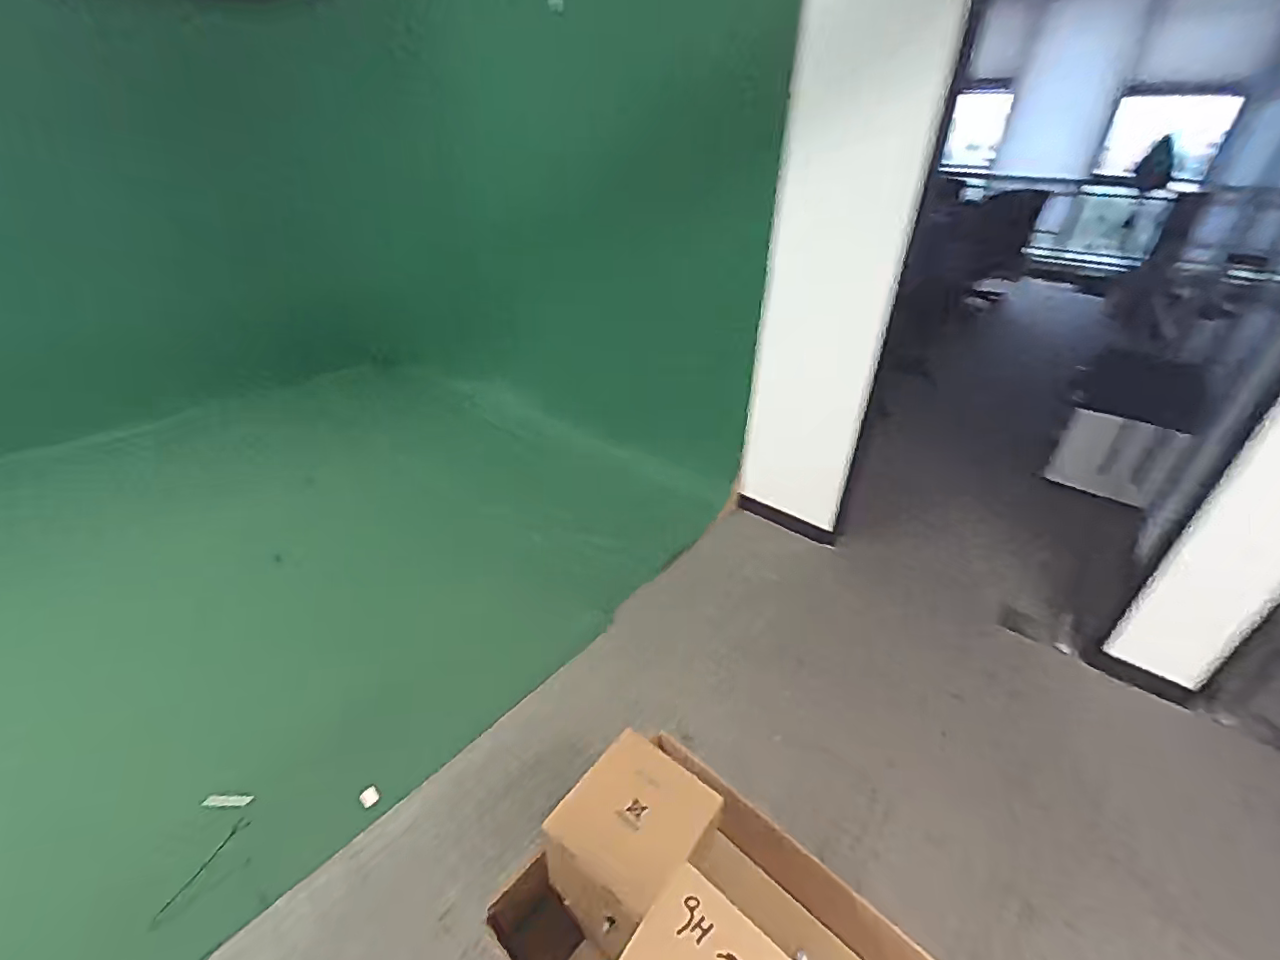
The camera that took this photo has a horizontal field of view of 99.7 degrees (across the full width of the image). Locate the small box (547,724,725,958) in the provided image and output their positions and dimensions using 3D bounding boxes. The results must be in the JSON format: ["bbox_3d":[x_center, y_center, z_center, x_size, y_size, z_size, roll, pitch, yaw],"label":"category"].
[{"bbox_3d":[-0.002,0.488,0.738,0.168,0.176,0.179,25,41,31],"label":"small box"}]
